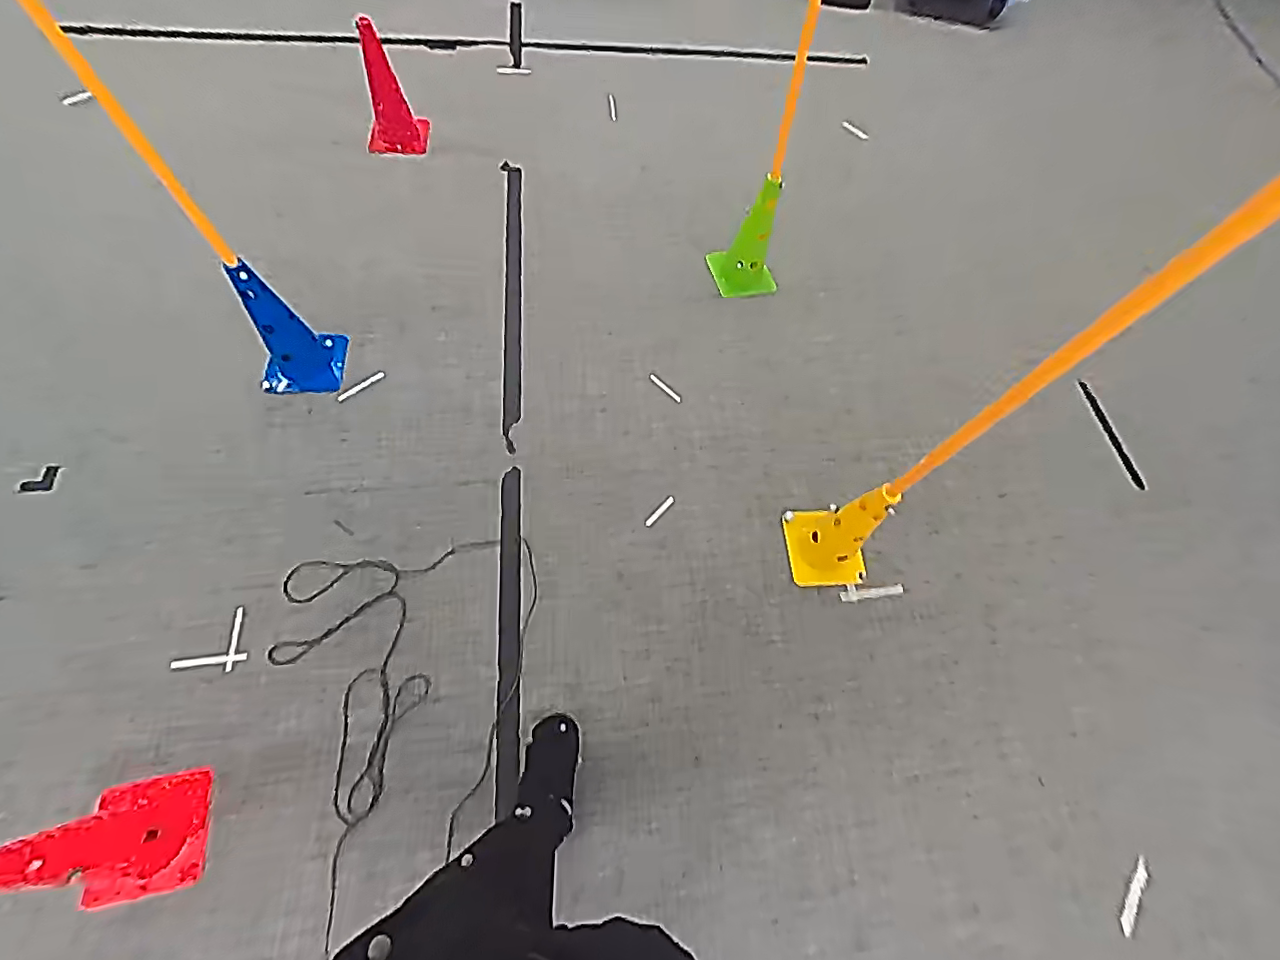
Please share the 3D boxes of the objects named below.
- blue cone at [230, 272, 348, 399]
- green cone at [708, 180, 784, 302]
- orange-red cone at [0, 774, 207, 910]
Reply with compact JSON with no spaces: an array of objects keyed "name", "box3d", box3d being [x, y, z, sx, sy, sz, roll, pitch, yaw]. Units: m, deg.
[{"name":"blue cone","box3d":[-0.915,-0.382,1.378,0.193,0.380,0.192,0,65,-6]},{"name":"green cone","box3d":[0.362,-0.760,1.678,0.200,0.368,0.202,-13,68,-11]},{"name":"orange-red cone","box3d":[-0.923,0.608,0.874,0.199,0.360,0.198,-7,65,-10]}]
